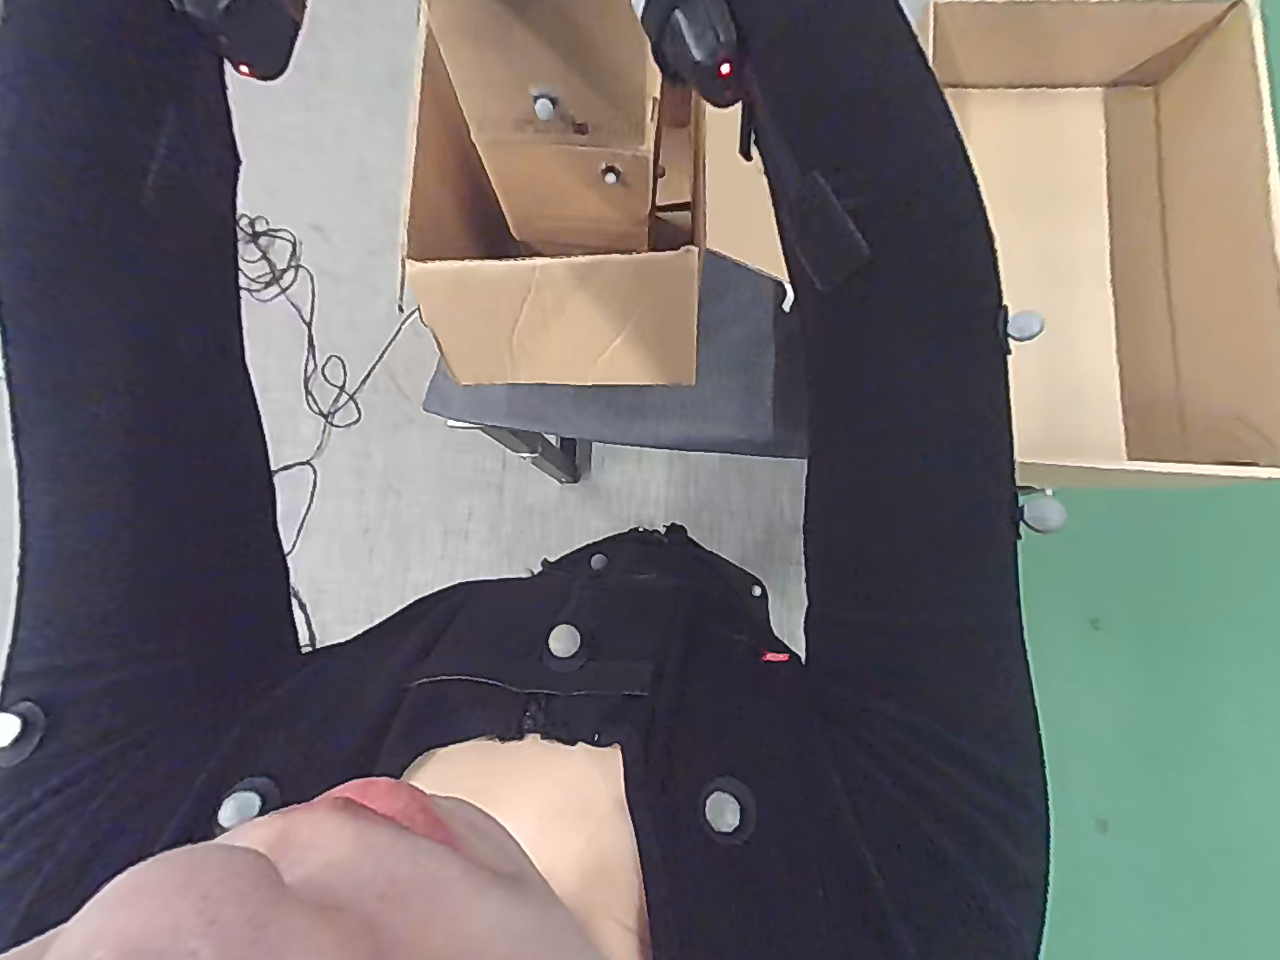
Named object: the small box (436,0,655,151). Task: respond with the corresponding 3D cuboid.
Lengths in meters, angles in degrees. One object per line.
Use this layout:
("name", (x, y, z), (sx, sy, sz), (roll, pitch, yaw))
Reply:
("small box", (-0.069, -0.416, 0.450), (0.168, 0.176, 0.179), (2, 81, 0))
